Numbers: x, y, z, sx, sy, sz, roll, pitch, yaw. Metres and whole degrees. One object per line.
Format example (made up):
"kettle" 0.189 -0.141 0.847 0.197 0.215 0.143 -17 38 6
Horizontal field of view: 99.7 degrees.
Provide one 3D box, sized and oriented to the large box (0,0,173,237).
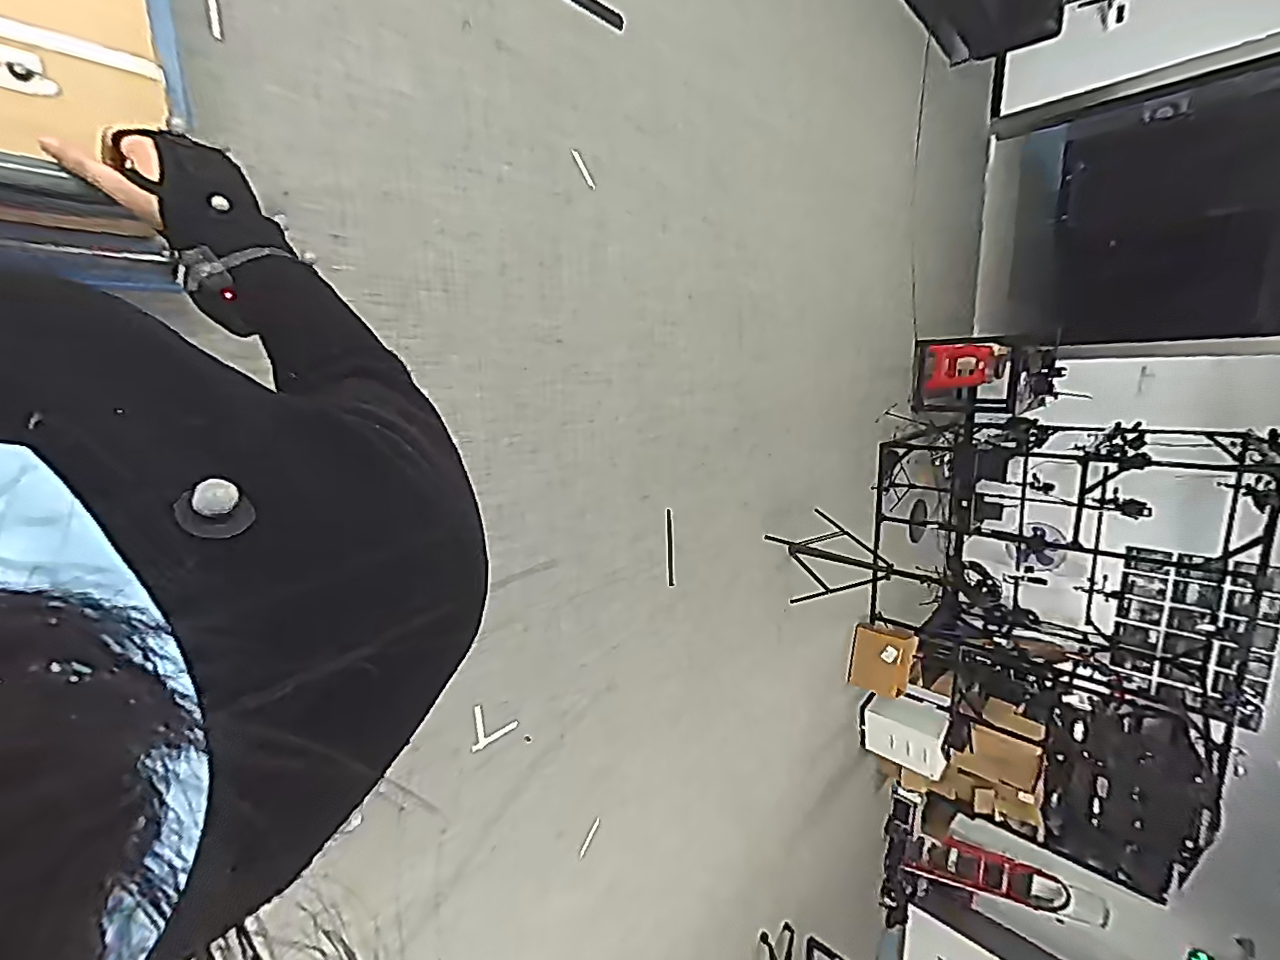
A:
"large box" -0.915 -0.533 0.699 0.408 0.320 0.320 -13 106 -47
